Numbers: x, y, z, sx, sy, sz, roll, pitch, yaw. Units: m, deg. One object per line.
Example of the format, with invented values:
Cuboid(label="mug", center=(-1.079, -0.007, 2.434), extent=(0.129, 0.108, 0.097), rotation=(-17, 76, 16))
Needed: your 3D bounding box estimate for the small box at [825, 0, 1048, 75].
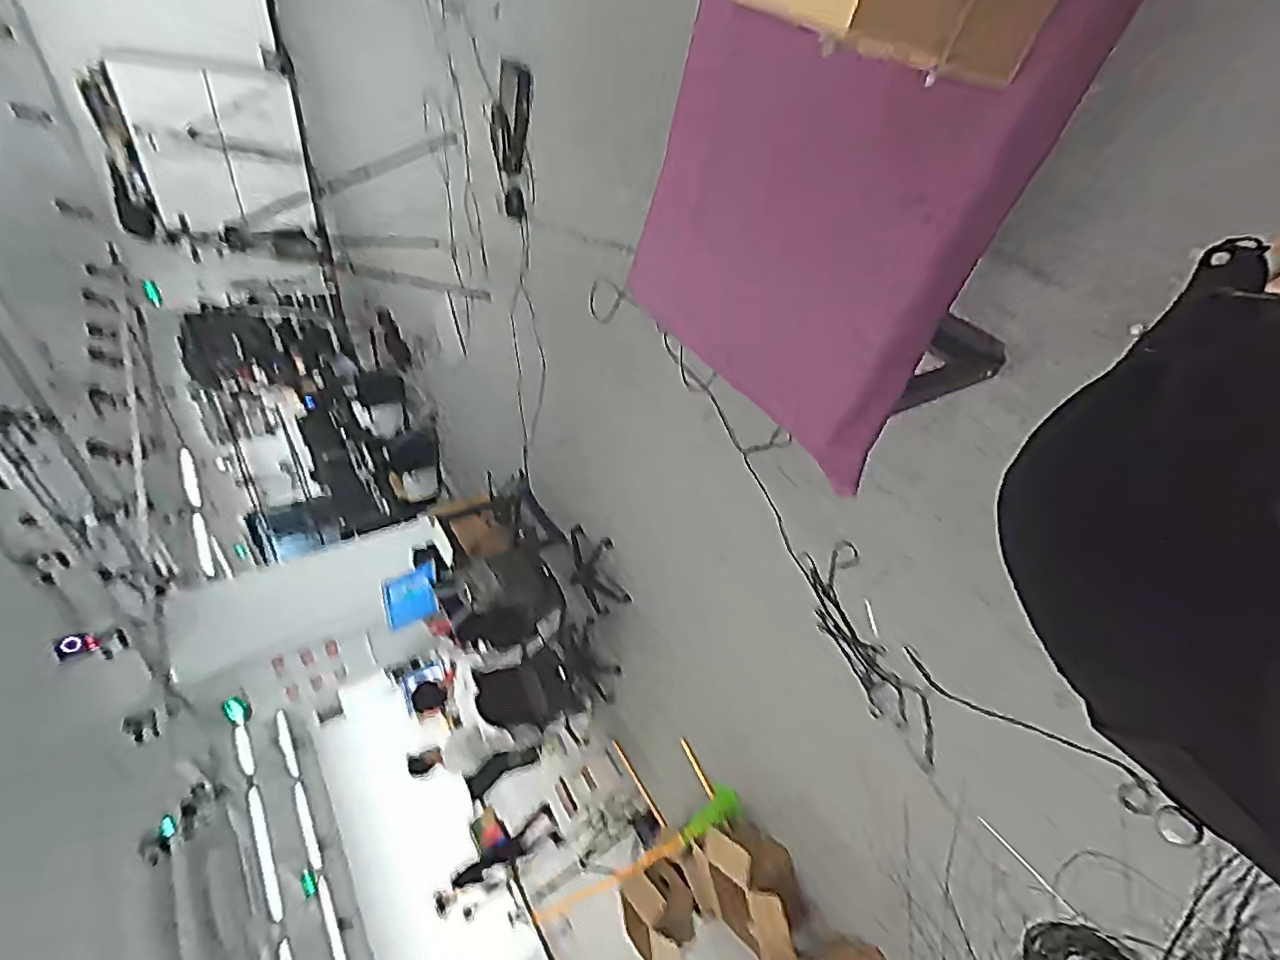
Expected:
Cuboid(label="small box", center=(0.342, -0.559, 0.577), extent=(0.168, 0.176, 0.179), rotation=(49, 142, 32))

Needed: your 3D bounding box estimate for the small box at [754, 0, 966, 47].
Cuboid(label="small box", center=(0.213, -0.516, 0.486), extent=(0.179, 0.176, 0.168), rotation=(50, 143, 30))
